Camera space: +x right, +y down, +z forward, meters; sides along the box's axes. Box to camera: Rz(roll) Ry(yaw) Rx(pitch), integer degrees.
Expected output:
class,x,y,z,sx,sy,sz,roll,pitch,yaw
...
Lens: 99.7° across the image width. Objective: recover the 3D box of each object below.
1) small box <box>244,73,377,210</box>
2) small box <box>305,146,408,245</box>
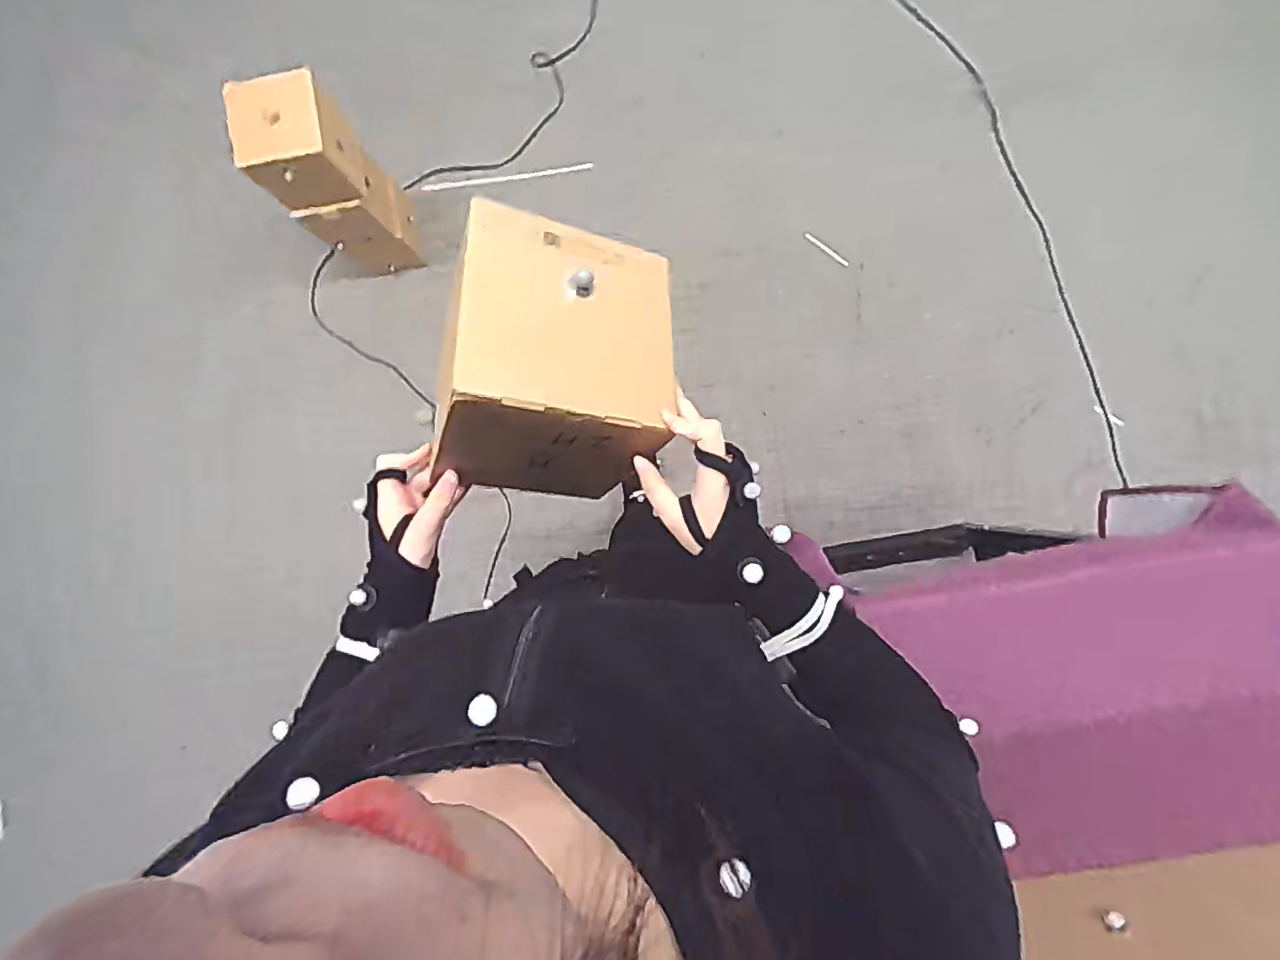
class,x,y,z,sx,sy,sz,roll,pitch,yaw
small box,-0.676,-0.699,1.135,0.179,0.176,0.168,-9,88,4
small box,-0.680,-0.687,1.299,0.168,0.176,0.179,-9,88,2
